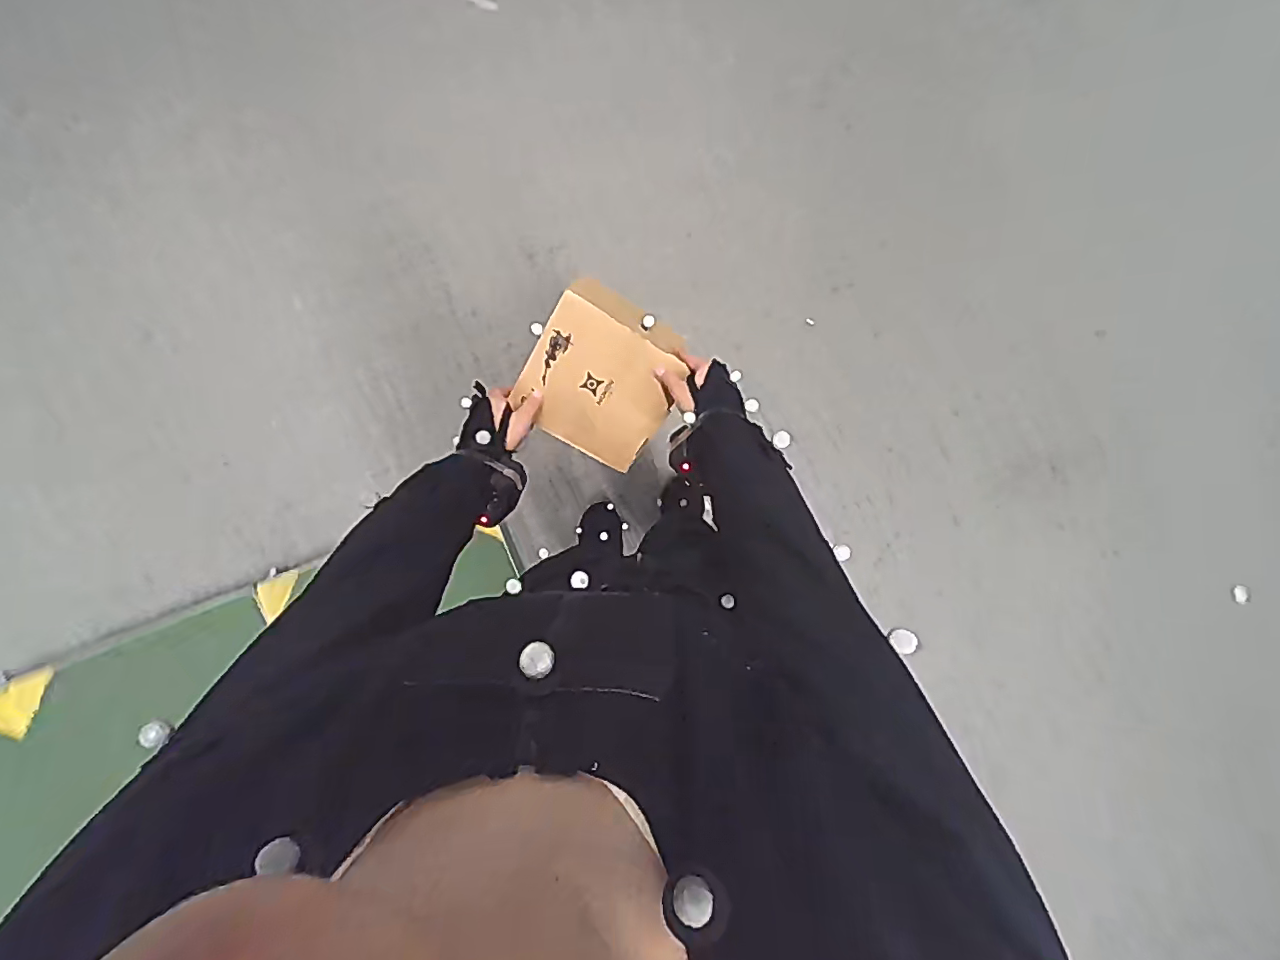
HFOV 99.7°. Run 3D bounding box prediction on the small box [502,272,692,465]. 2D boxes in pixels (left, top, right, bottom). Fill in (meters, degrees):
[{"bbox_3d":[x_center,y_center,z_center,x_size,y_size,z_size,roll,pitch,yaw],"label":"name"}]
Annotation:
[{"bbox_3d":[-0.053,-0.155,0.714,0.179,0.176,0.168,28,113,-13],"label":"small box"}]
